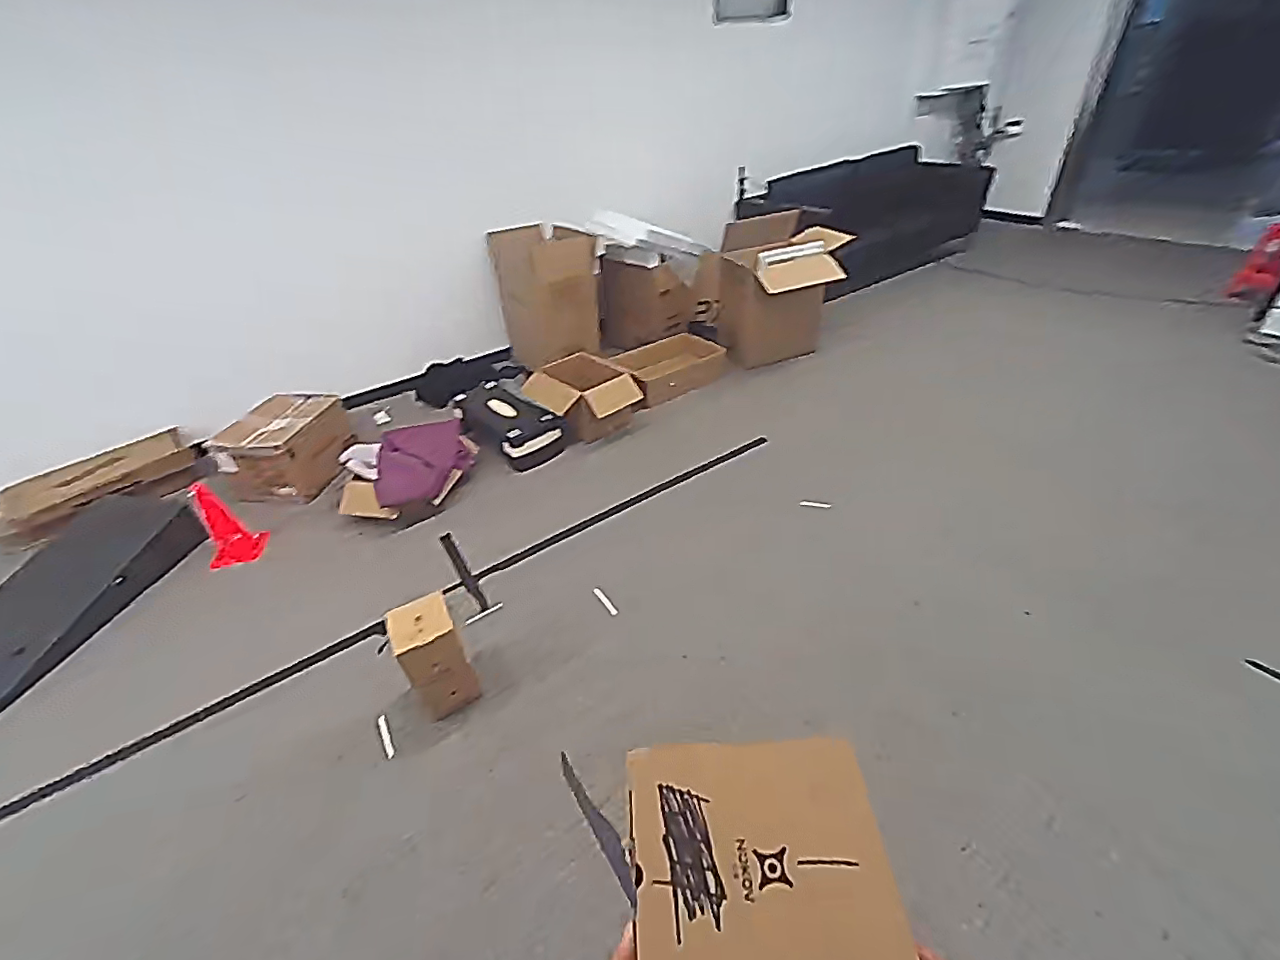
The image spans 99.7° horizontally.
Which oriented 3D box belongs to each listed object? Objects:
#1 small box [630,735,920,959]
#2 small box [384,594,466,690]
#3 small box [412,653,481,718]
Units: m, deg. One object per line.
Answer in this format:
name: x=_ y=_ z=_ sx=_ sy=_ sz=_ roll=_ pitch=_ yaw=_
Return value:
small box: x=0.086 y=0.320 z=0.422 sx=0.179 sy=0.176 sz=0.168 roll=-3 pitch=43 yaw=0
small box: x=-0.631 y=0.476 z=1.594 sx=0.168 sy=0.176 sz=0.179 roll=-22 pitch=40 yaw=-21
small box: x=-0.619 y=0.611 z=1.690 sx=0.168 sy=0.176 sz=0.179 roll=-26 pitch=42 yaw=-25
